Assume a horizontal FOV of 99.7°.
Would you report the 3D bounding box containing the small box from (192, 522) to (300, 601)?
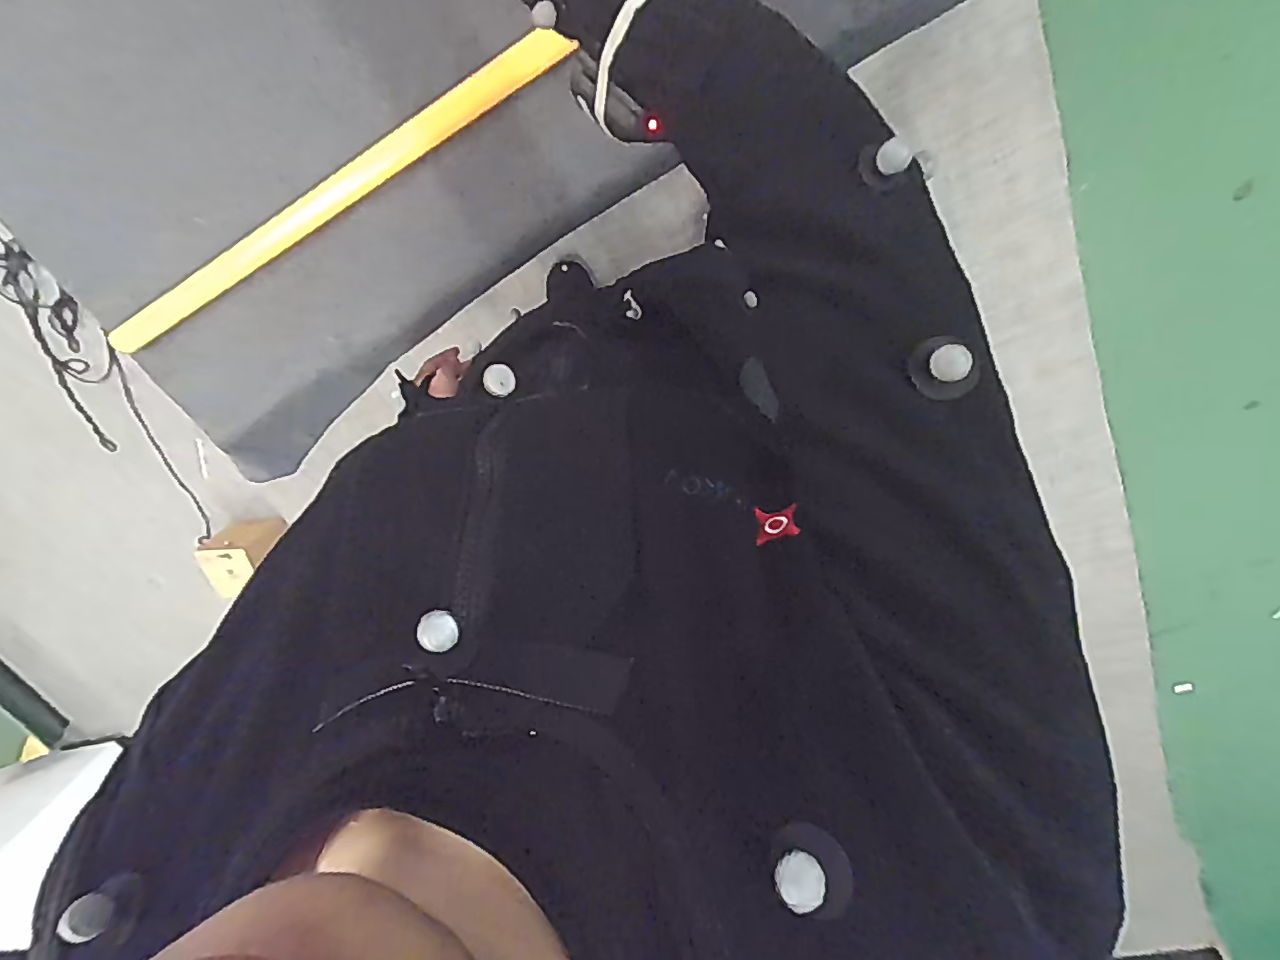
[{"bbox_3d":[-1.175,0.244,1.630,0.168,0.176,0.179,-3,118,8],"label":"small box"}]
